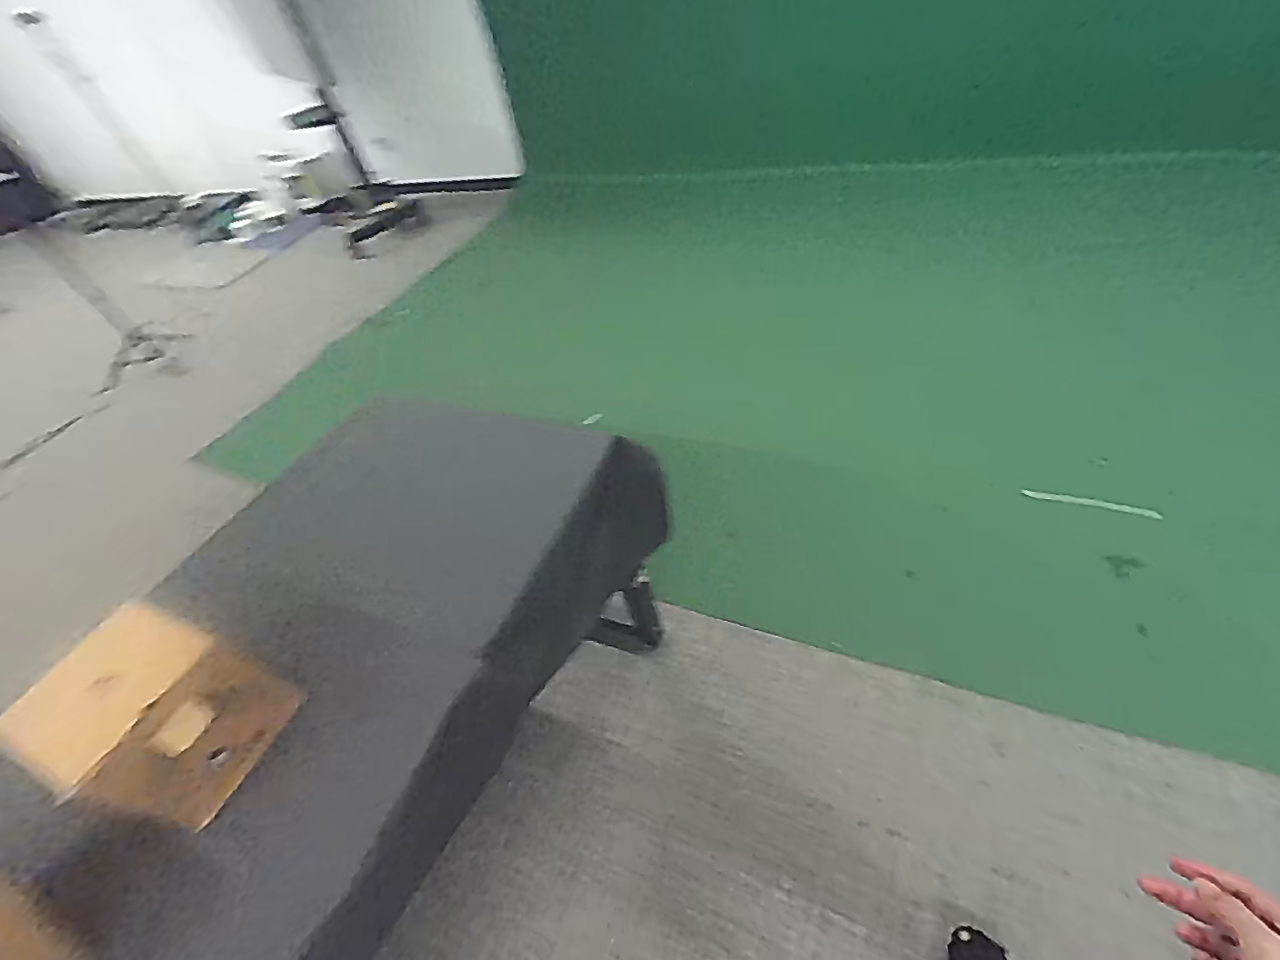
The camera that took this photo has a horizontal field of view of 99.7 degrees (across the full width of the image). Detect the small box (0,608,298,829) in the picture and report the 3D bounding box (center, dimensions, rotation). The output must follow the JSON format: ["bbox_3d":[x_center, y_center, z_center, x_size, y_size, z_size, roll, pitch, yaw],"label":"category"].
[{"bbox_3d":[-0.567,0.283,0.642,0.179,0.176,0.168,11,51,22],"label":"small box"}]
